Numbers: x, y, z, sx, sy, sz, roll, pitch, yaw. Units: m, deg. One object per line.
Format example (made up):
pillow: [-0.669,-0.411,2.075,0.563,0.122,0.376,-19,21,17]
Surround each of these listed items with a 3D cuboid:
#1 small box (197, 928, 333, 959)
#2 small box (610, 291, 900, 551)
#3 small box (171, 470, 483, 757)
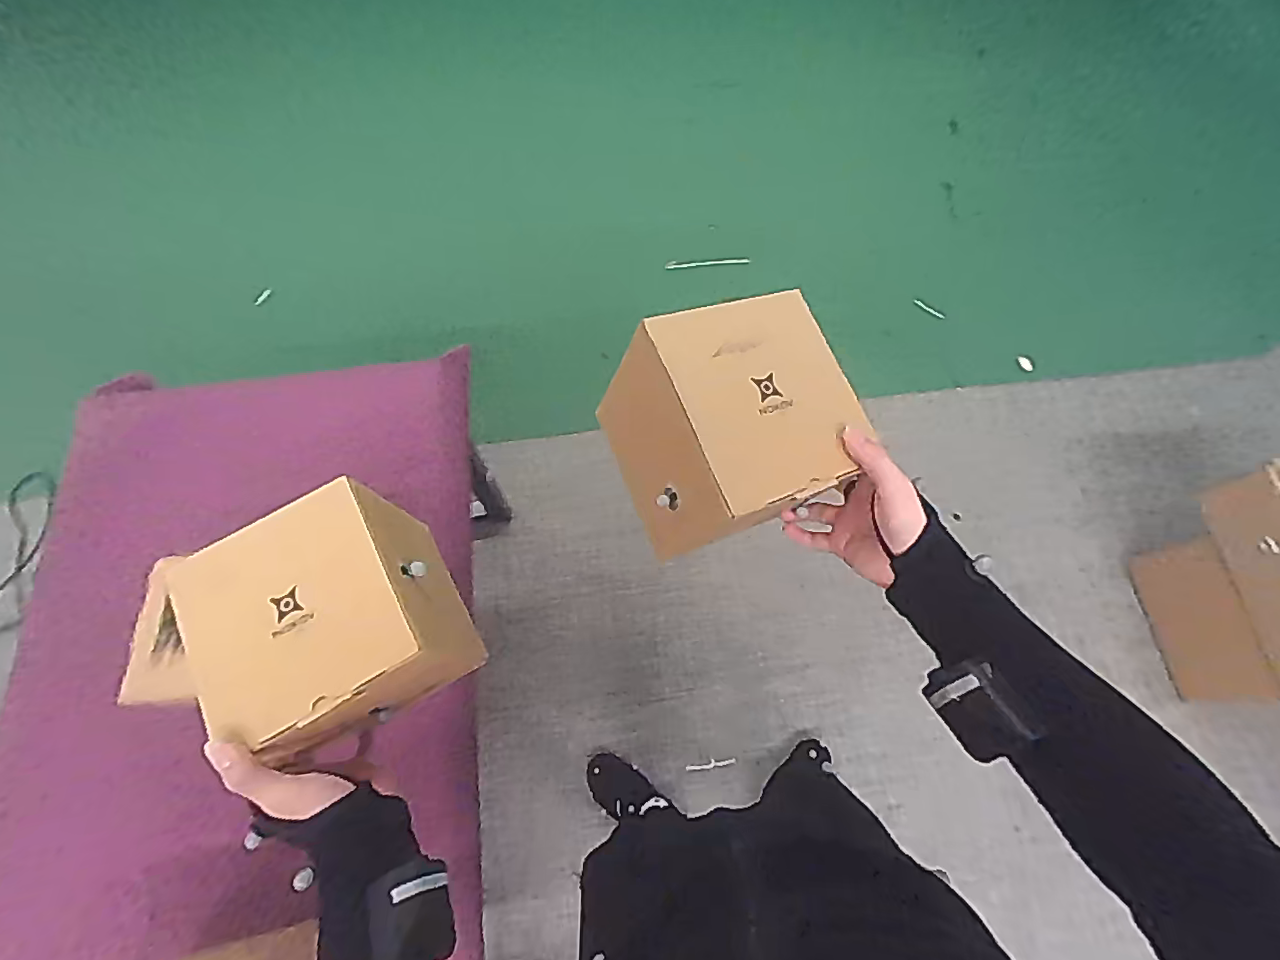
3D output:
small box: [-0.436,0.587,0.533,0.179,0.176,0.168,-11,67,-6]
small box: [0.090,-0.043,0.502,0.168,0.176,0.179,-16,76,-23]
small box: [-0.272,0.124,0.505,0.168,0.176,0.179,-28,72,-8]
